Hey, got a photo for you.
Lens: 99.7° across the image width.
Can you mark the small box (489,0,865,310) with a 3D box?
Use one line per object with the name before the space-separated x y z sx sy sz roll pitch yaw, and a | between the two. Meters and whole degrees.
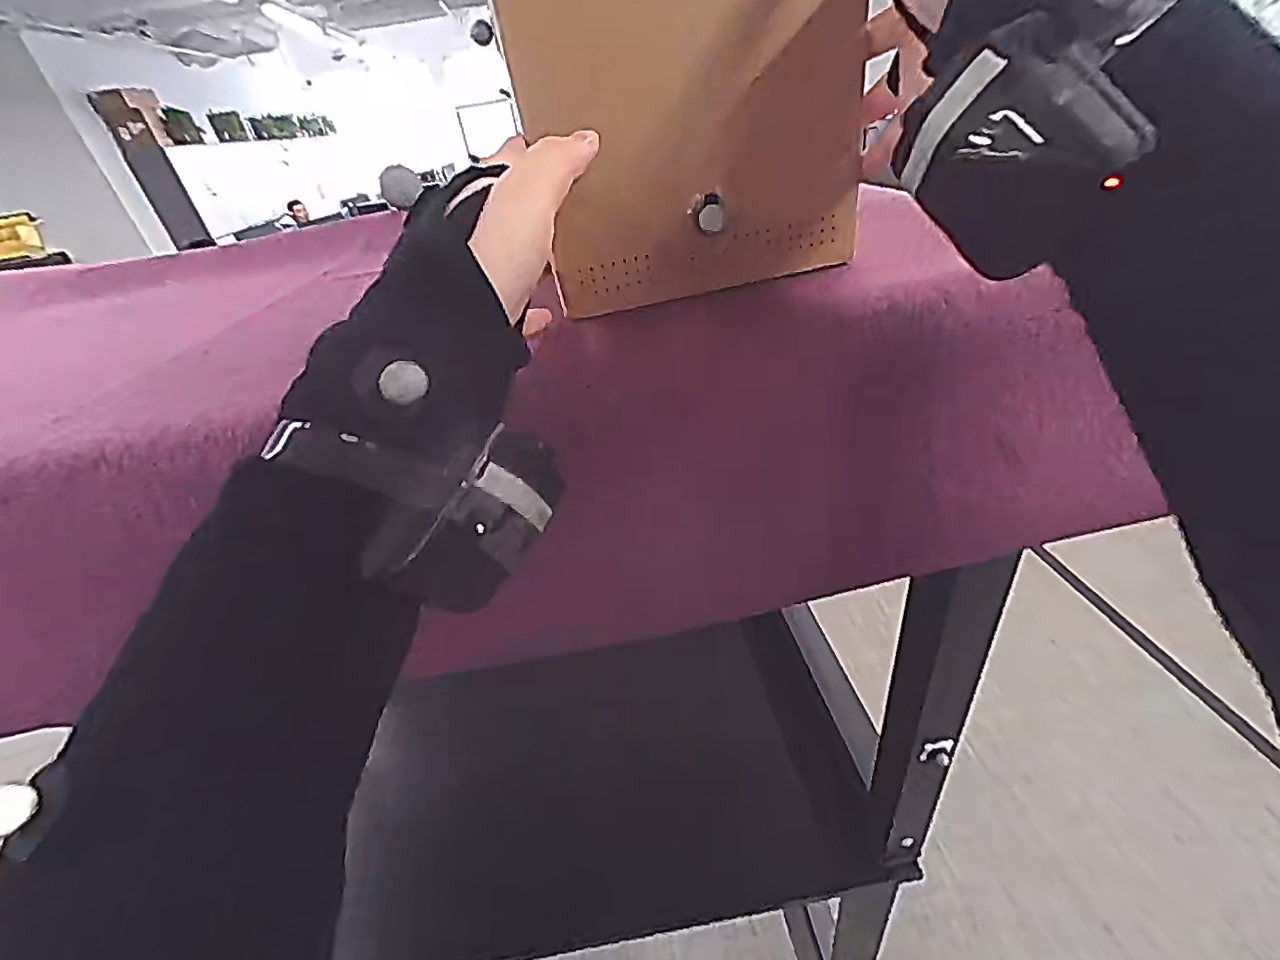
small box | 0.015 -0.219 0.327 0.179 0.176 0.168 -13 33 -4
